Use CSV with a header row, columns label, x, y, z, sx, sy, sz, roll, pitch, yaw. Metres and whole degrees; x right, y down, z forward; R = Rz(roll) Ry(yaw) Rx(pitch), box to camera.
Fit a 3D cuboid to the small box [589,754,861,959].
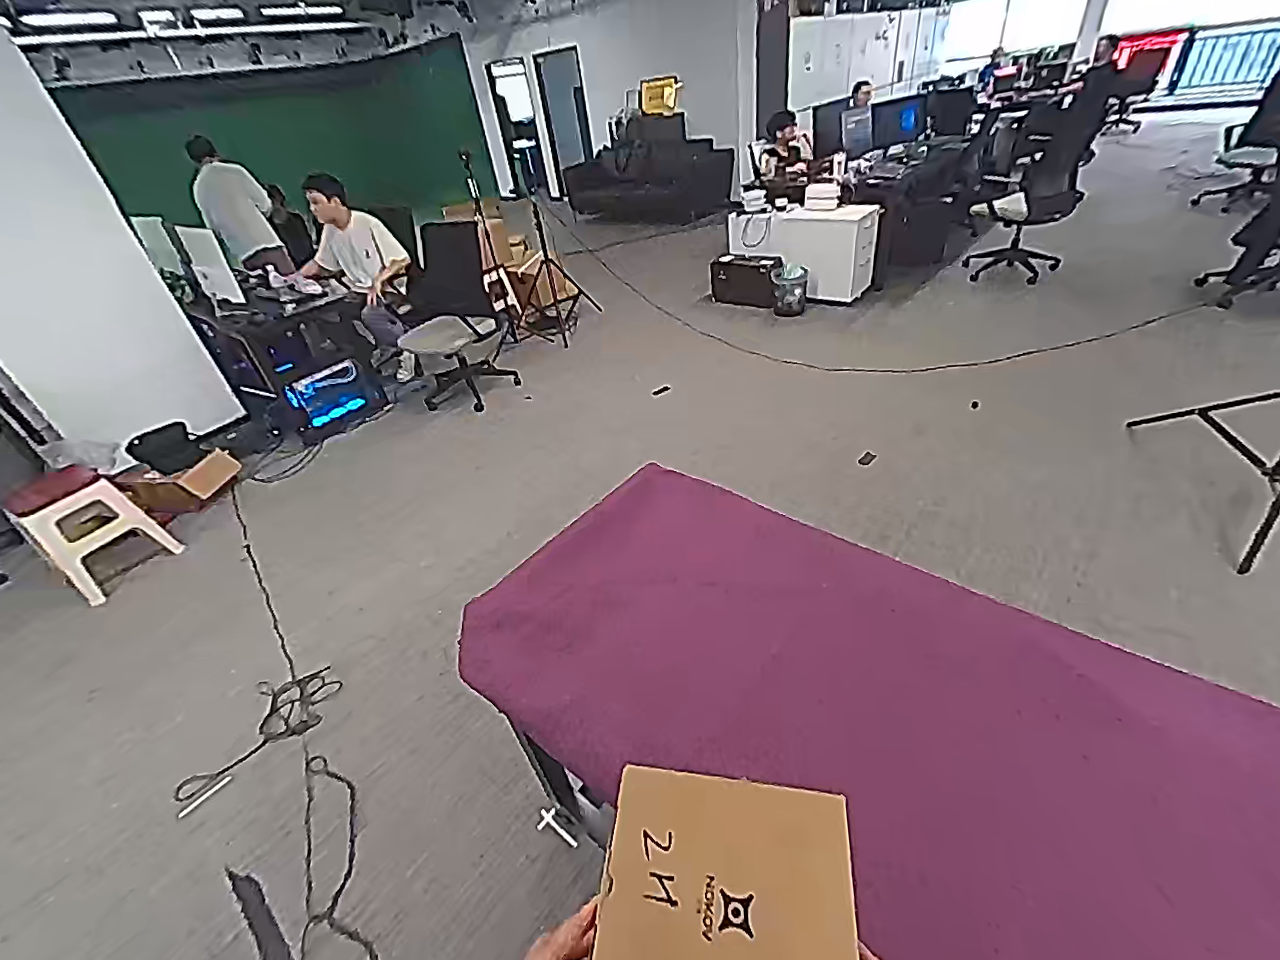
label,x,y,z,sx,sy,sz,roll,pitch,yaw
small box,0.068,0.344,0.428,0.179,0.176,0.168,2,44,12
